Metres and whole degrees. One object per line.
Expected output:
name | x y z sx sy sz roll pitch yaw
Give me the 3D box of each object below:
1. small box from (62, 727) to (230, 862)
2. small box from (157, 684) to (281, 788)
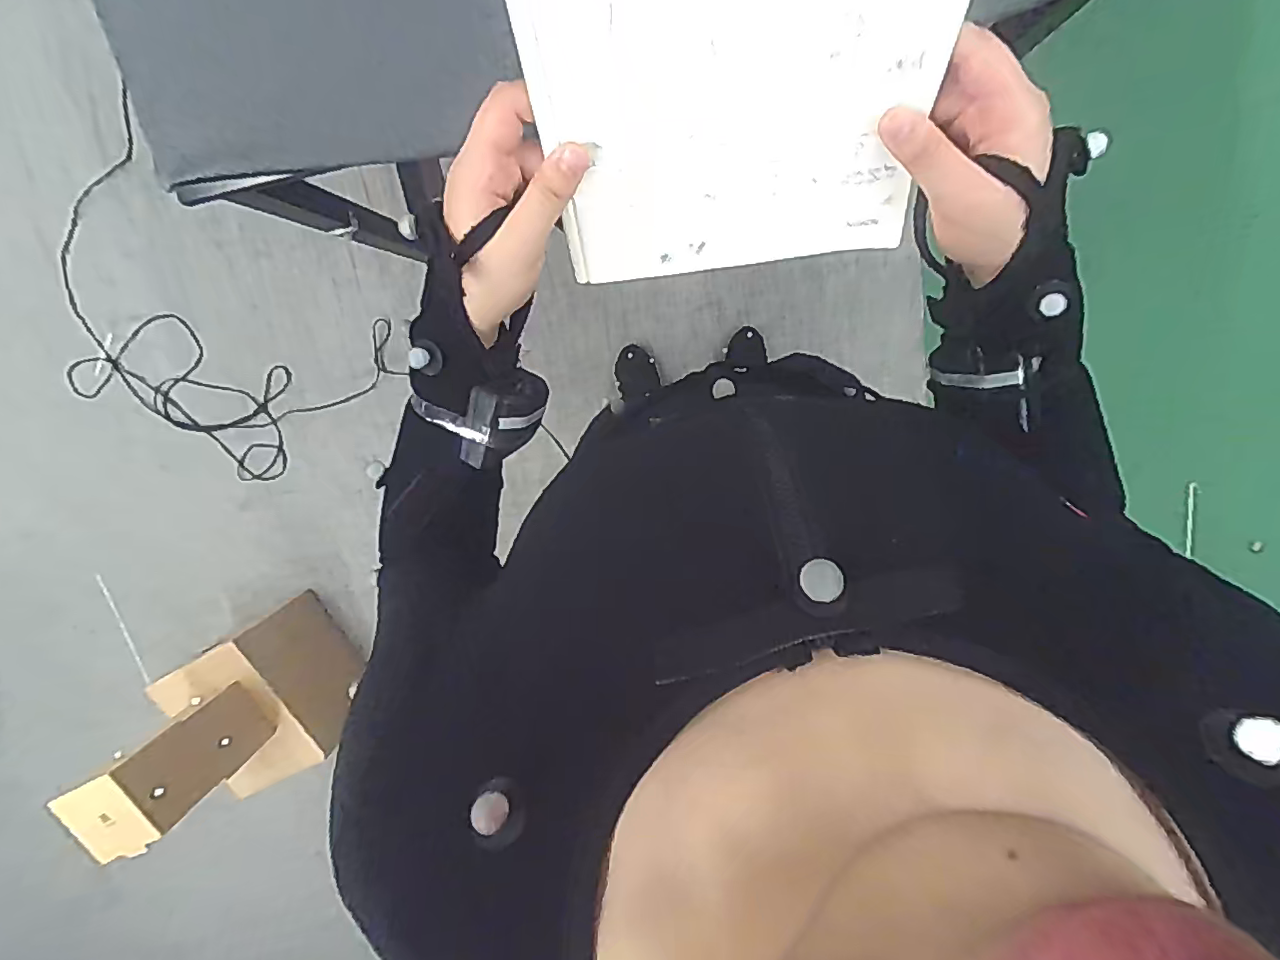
small box | -1.067 0.675 1.185 0.168 0.176 0.179 -27 101 8
small box | -1.052 0.649 1.345 0.168 0.176 0.179 -27 100 9
